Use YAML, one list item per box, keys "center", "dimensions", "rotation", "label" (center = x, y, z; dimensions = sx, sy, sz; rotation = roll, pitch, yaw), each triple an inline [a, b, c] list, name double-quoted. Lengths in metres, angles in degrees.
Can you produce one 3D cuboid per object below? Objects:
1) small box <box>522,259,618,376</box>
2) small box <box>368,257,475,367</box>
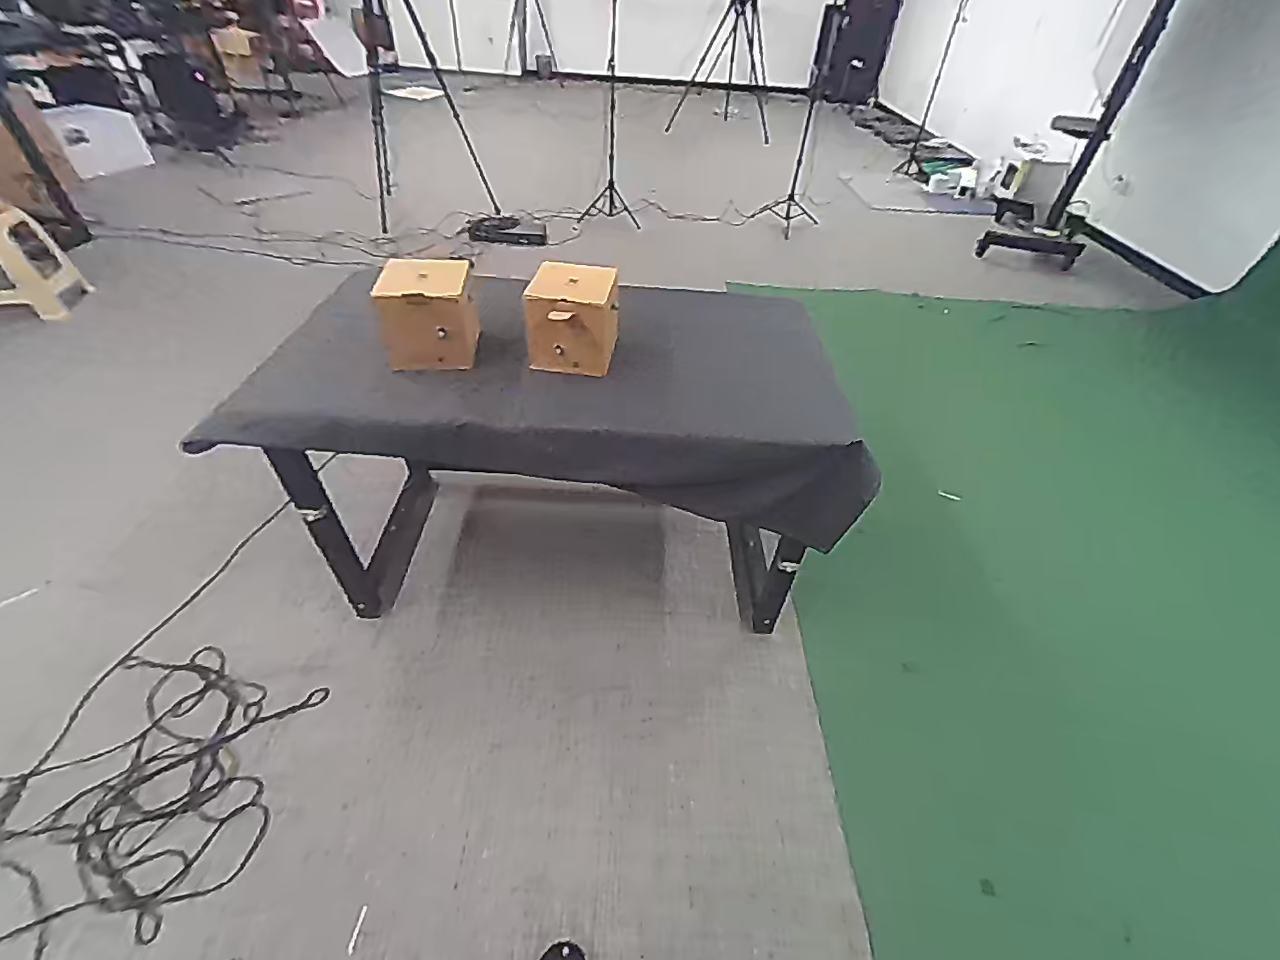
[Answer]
- center: [-0.145, -0.347, 1.154]
  dimensions: [0.168, 0.176, 0.179]
  rotation: [8, 44, 2]
  label: "small box"
- center: [-0.443, -0.349, 1.128]
  dimensions: [0.168, 0.176, 0.179]
  rotation: [-1, 42, -9]
  label: "small box"
